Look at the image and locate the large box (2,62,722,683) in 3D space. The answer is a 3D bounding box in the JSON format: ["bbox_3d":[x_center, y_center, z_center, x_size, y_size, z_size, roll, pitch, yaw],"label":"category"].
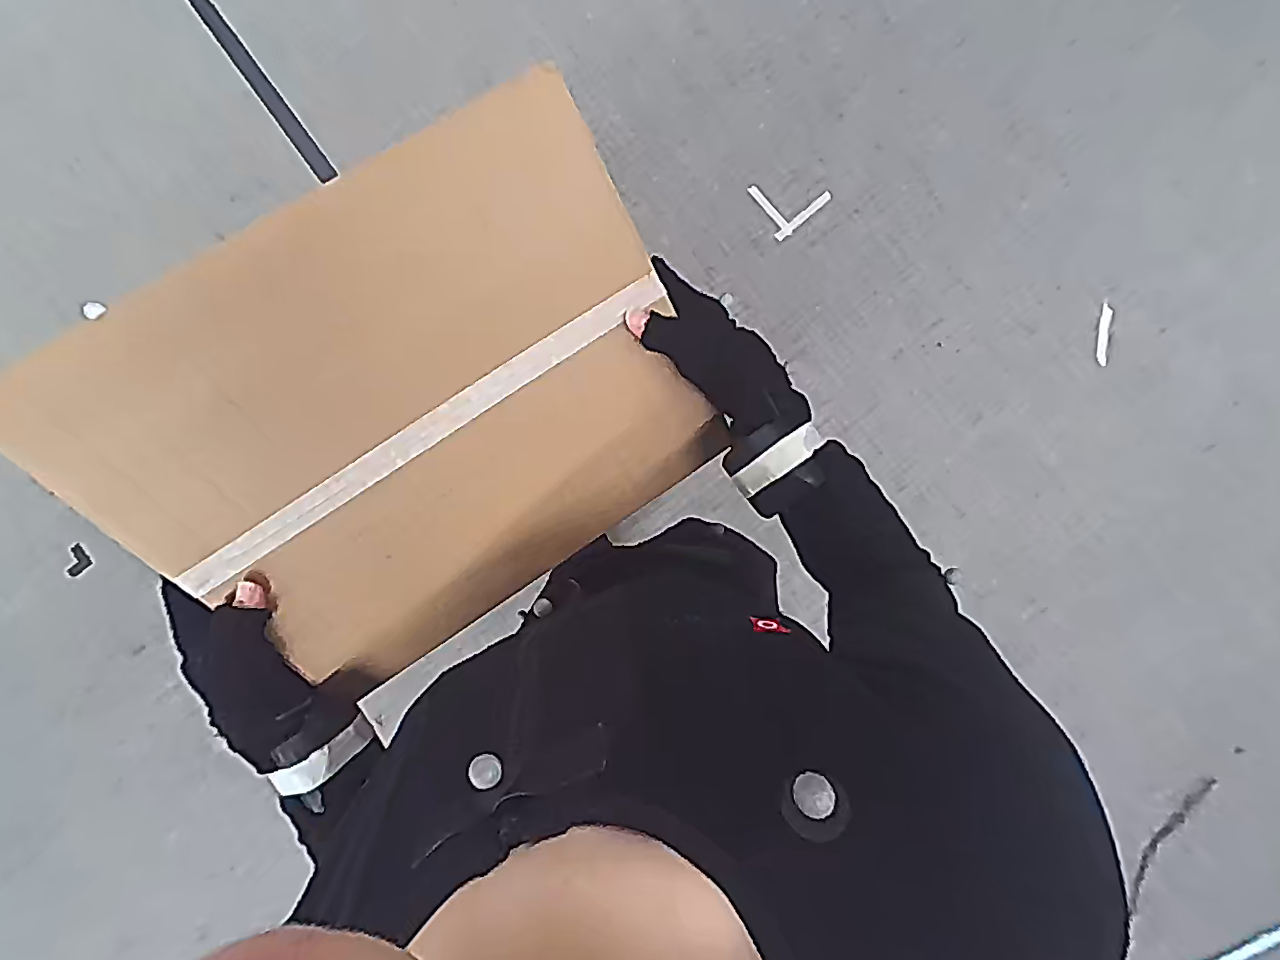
[{"bbox_3d":[-0.204,-0.099,0.538,0.408,0.320,0.320,-34,119,-5],"label":"large box"}]
